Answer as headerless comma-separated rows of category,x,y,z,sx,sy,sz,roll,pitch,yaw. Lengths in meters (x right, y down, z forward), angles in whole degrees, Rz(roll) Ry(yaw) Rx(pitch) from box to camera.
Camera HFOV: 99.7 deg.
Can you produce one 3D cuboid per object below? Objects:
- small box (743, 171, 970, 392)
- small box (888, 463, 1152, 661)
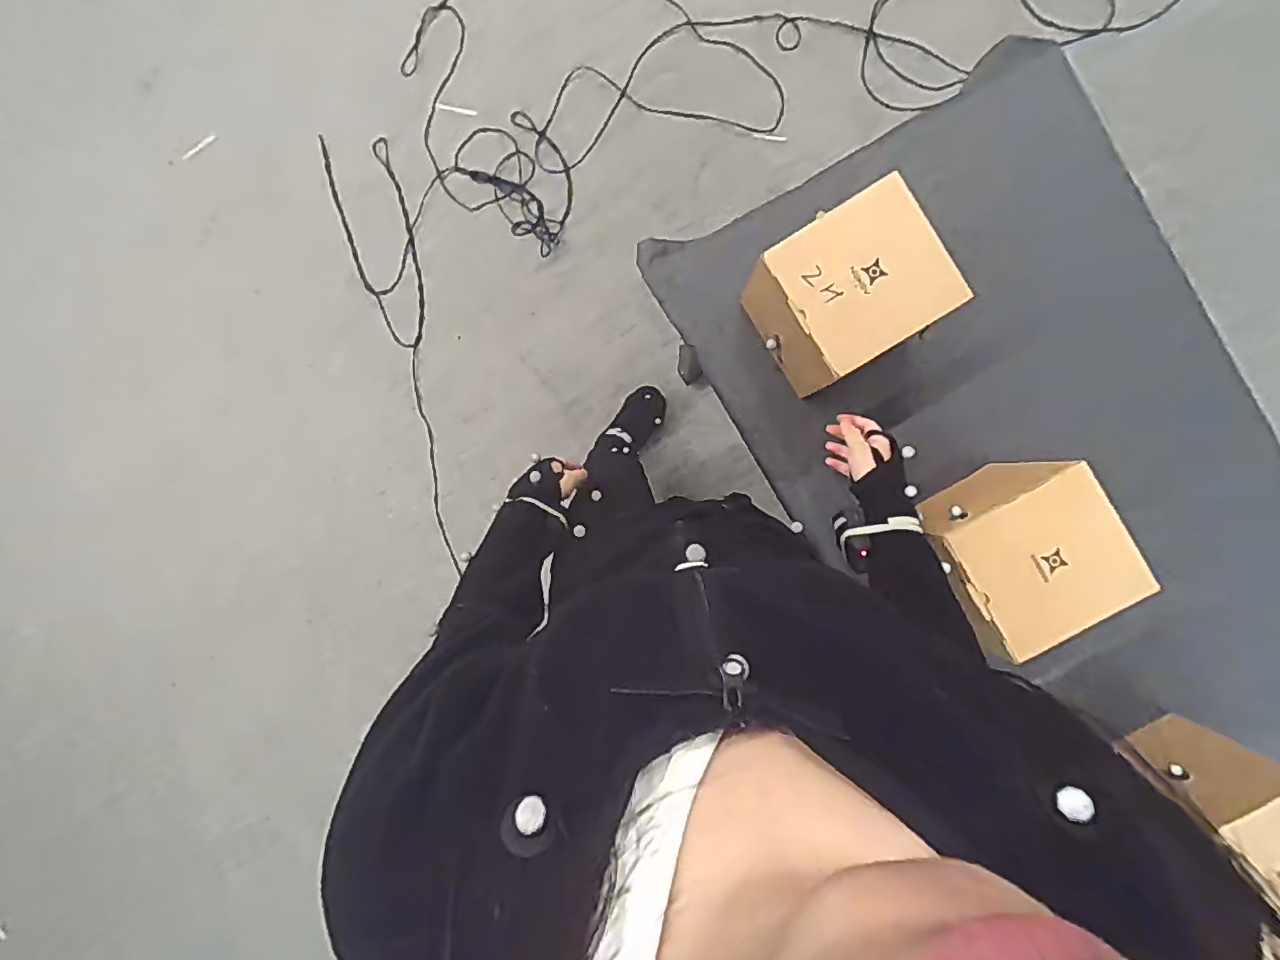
small box,0.250,-0.229,0.673,0.179,0.176,0.168,-31,90,2
small box,0.452,0.087,0.676,0.179,0.176,0.168,-31,90,4
